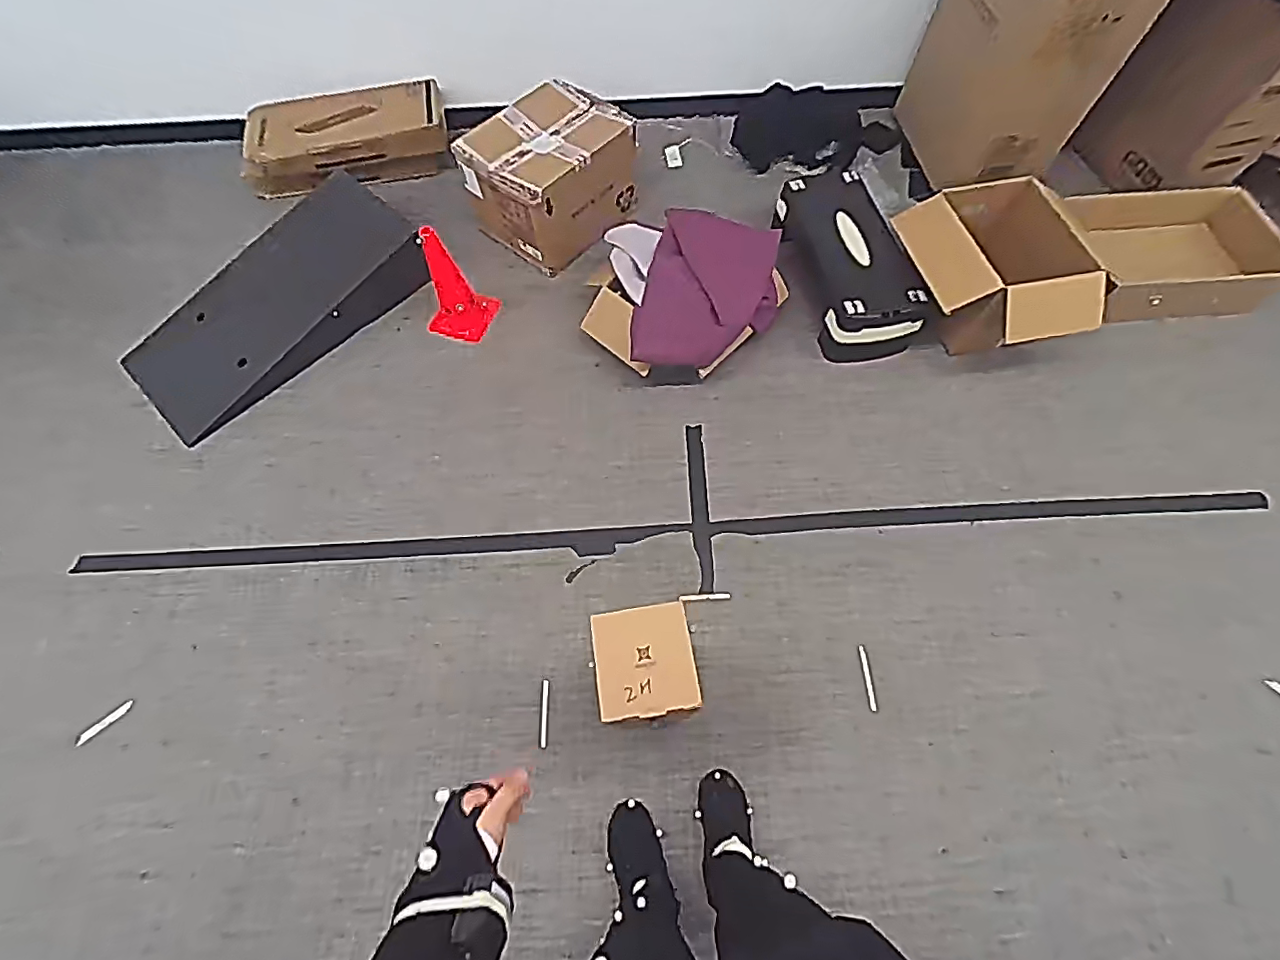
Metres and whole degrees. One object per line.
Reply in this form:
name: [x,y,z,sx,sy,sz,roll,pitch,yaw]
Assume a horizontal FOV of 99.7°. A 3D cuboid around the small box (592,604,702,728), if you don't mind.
small box: [0.010,0.337,0.968,0.168,0.176,0.179,-9,64,-1]
